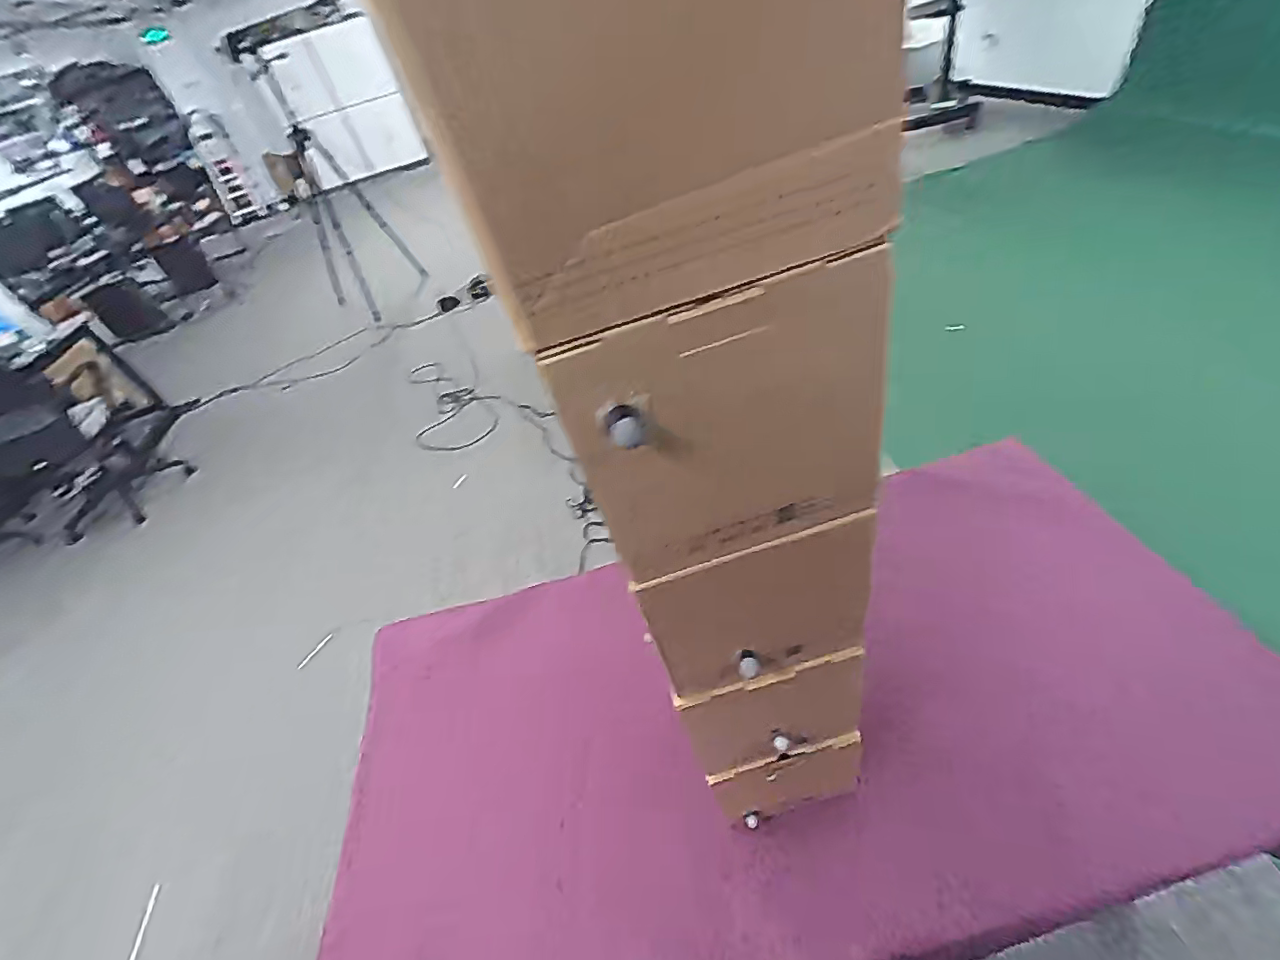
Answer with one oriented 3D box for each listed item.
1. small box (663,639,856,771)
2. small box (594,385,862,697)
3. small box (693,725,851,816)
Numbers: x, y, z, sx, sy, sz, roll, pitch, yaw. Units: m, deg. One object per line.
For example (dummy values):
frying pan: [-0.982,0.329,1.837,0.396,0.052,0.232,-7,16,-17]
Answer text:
small box: [0.106,0.170,0.570,0.168,0.176,0.179,-18,42,1]
small box: [0.069,0.051,0.465,0.168,0.176,0.179,-18,42,1]
small box: [0.147,0.291,0.673,0.168,0.176,0.179,-17,41,1]
